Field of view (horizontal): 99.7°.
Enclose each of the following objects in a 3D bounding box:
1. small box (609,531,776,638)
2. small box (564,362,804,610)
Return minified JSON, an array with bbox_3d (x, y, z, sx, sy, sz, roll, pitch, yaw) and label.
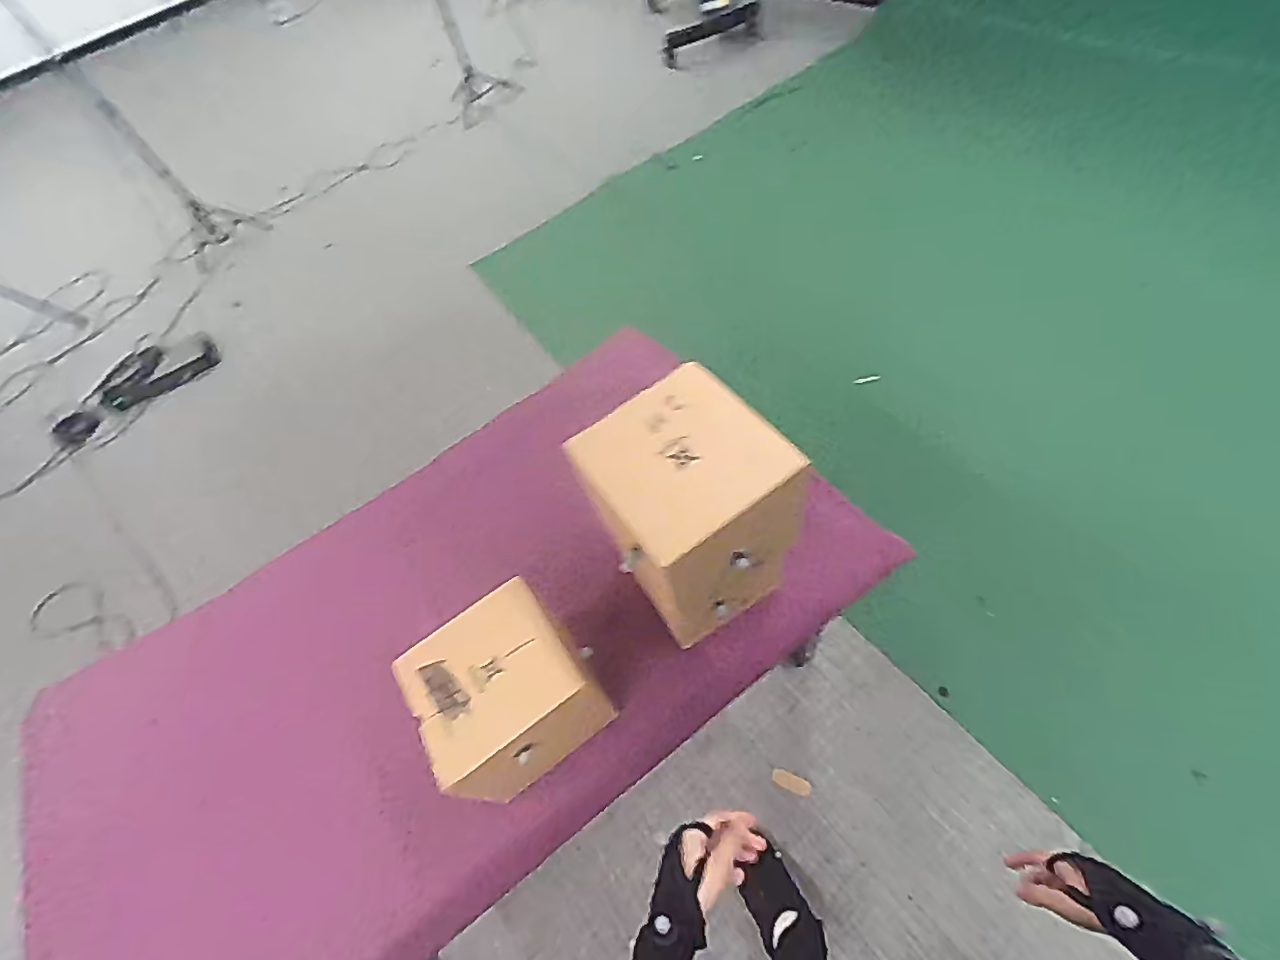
[{"bbox_3d":[0.070,0.091,0.724,0.168,0.176,0.179,-32,57,-9],"label":"small box"},{"bbox_3d":[0.049,0.017,0.577,0.168,0.176,0.179,-34,58,-11],"label":"small box"}]
